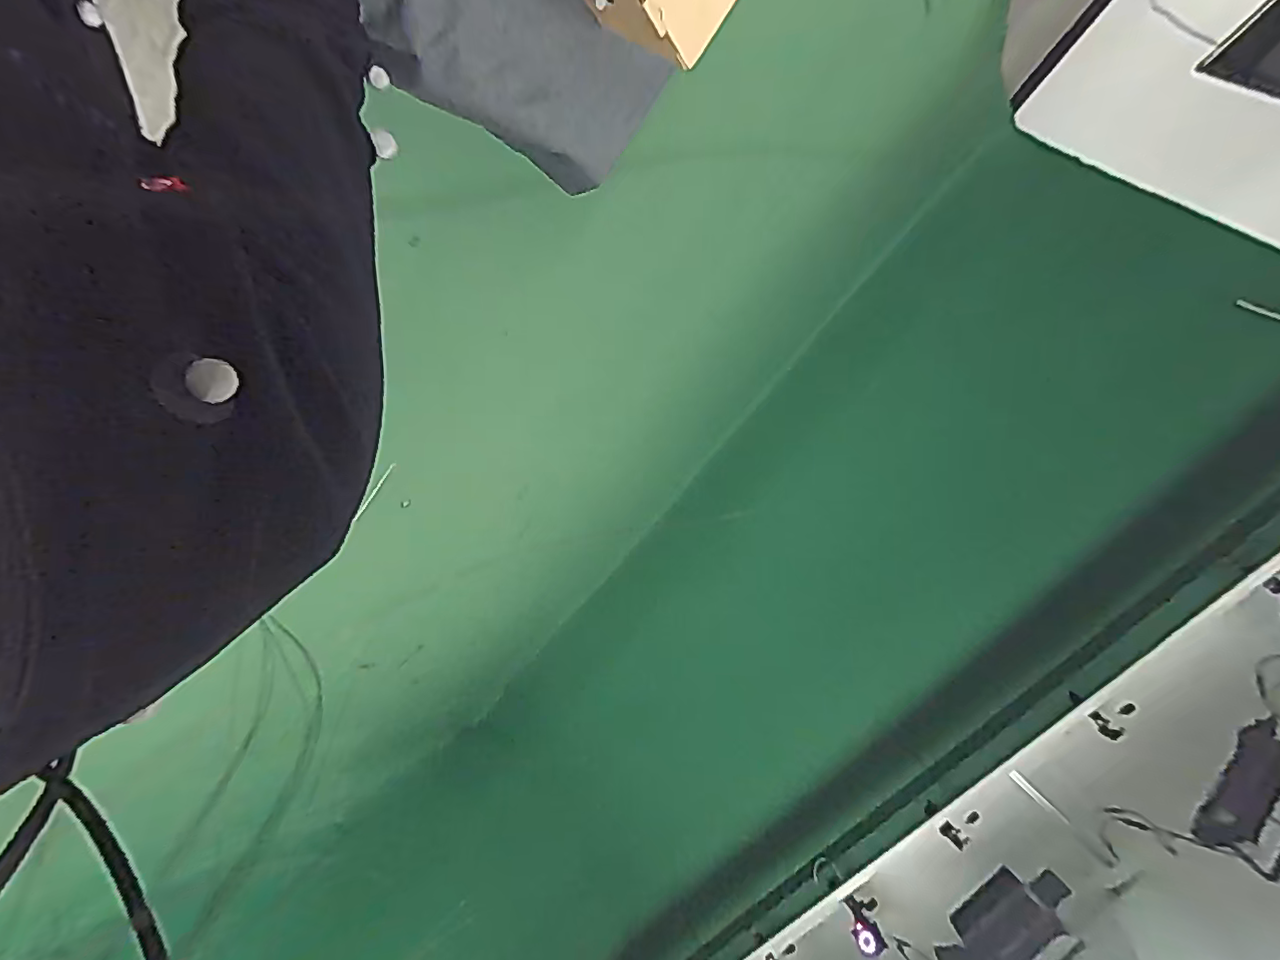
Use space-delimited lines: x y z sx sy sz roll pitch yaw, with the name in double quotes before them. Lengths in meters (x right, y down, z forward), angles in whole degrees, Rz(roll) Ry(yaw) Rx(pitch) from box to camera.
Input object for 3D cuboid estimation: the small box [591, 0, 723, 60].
"small box" 0.011 -0.623 0.585 0.179 0.176 0.168 -50 156 17
